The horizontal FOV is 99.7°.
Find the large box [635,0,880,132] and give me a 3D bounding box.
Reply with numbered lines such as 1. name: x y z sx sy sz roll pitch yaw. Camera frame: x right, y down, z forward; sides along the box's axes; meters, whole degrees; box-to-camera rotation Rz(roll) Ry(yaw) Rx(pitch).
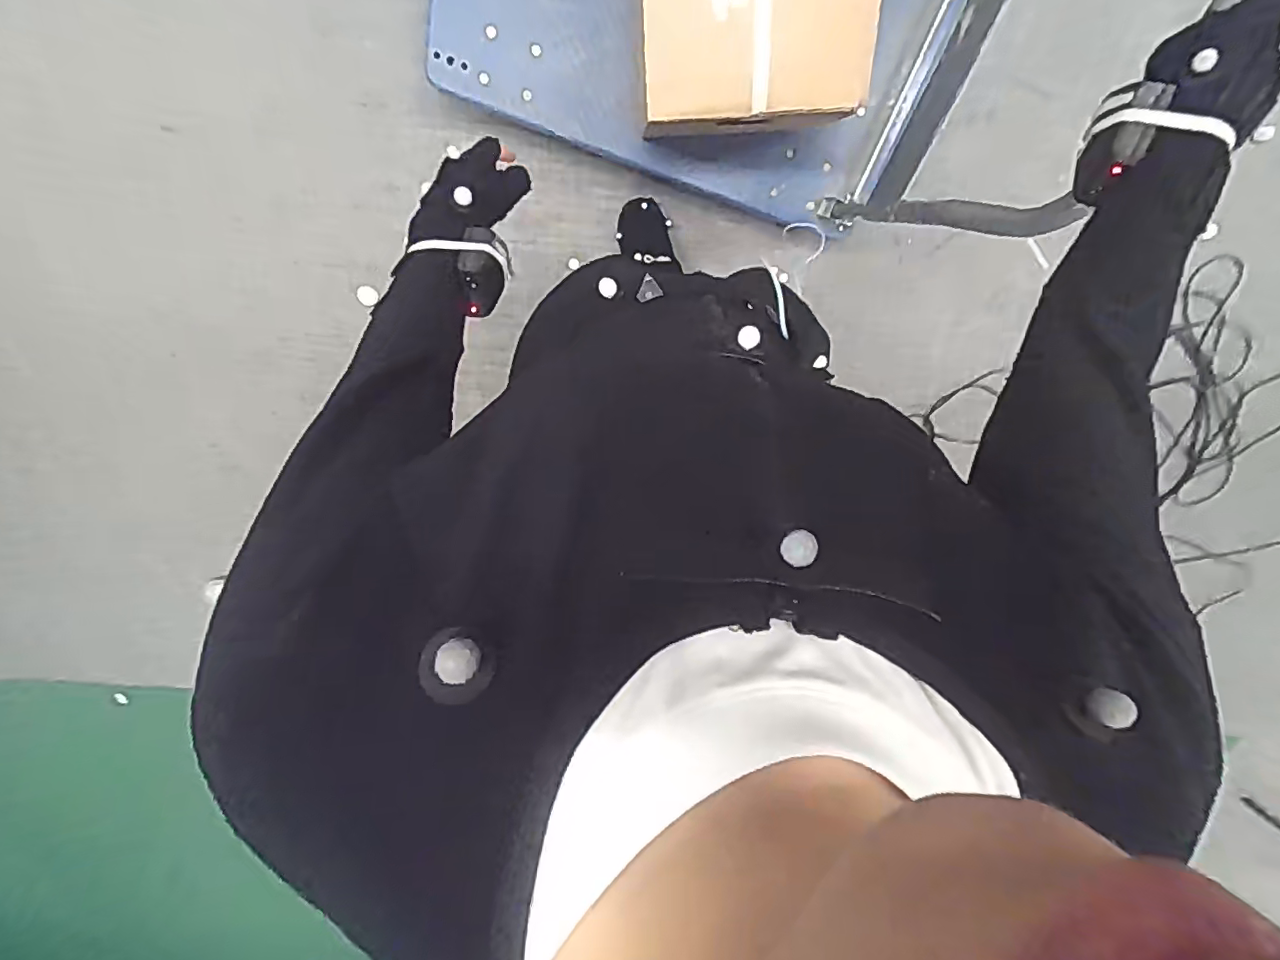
1. large box: 0.150 -0.764 0.794 0.320 0.320 0.408 -3 120 0
